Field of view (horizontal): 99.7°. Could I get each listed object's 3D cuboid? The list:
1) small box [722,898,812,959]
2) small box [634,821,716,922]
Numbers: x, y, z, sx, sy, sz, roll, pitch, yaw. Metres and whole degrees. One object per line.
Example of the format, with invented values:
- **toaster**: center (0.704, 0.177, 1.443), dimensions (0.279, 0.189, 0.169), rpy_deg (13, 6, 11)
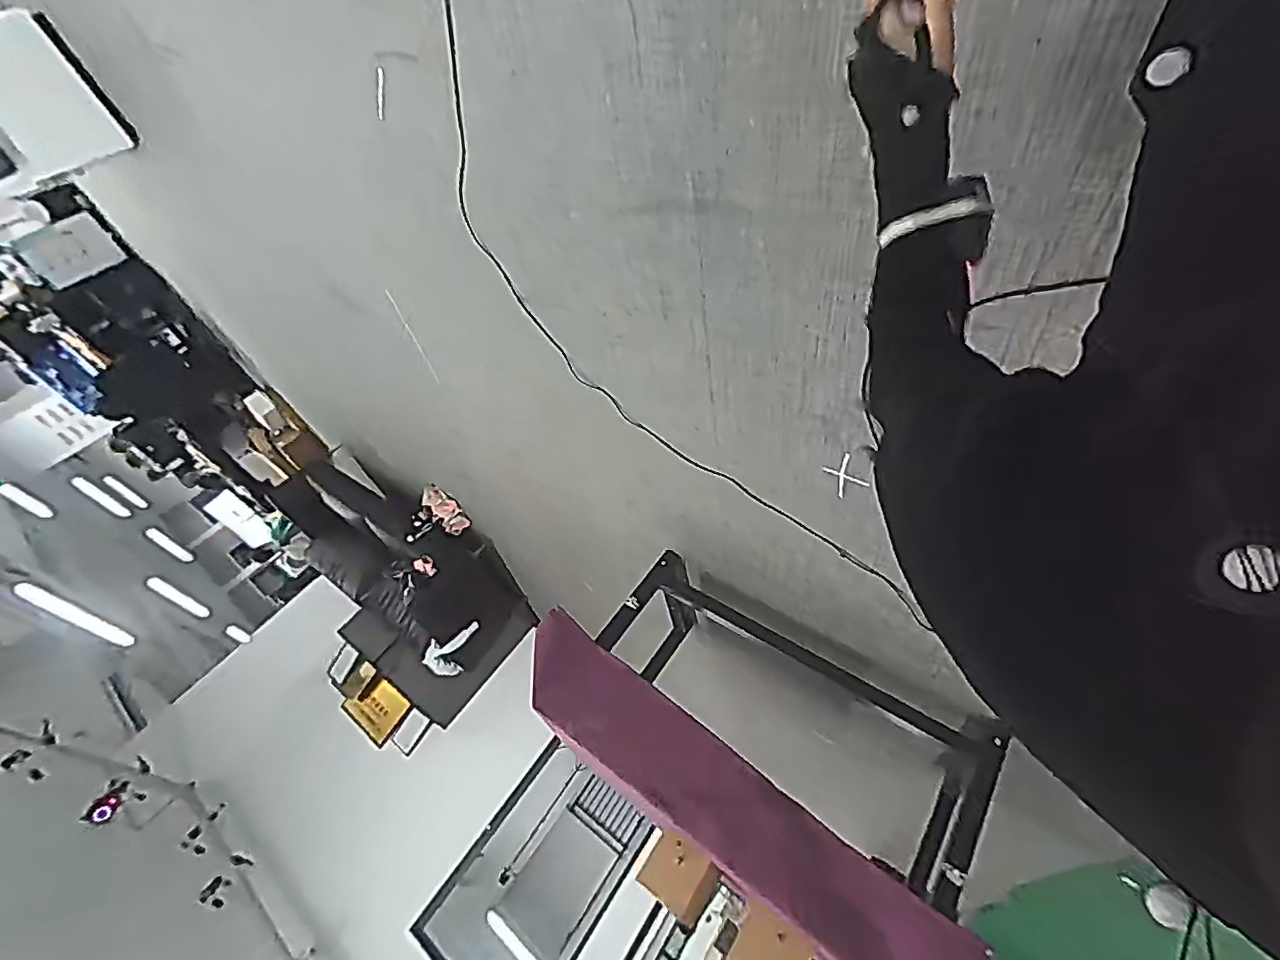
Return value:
- **small box**: center (0.345, 1.279, 1.470), dimensions (0.179, 0.176, 0.168), rpy_deg (24, 148, 32)
- **small box**: center (0.114, 1.176, 1.629), dimensions (0.168, 0.176, 0.179), rpy_deg (20, 145, 36)
